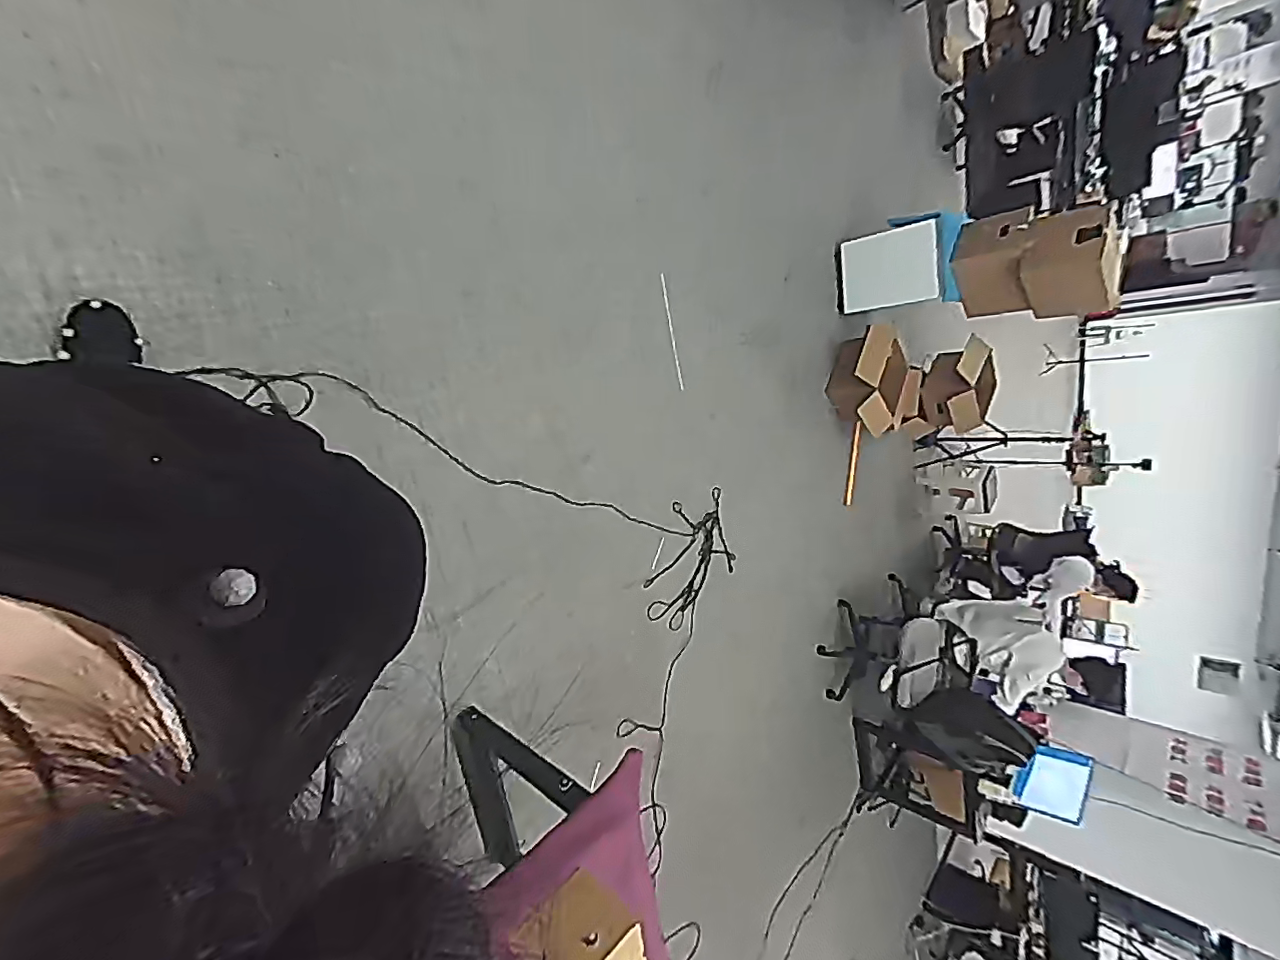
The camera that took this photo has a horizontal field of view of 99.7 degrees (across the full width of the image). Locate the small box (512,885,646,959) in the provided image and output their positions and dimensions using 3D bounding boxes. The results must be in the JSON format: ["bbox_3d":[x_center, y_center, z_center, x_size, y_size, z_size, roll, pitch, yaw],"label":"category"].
[{"bbox_3d":[-0.103,0.882,0.958,0.179,0.176,0.168,-23,109,-40],"label":"small box"}]
